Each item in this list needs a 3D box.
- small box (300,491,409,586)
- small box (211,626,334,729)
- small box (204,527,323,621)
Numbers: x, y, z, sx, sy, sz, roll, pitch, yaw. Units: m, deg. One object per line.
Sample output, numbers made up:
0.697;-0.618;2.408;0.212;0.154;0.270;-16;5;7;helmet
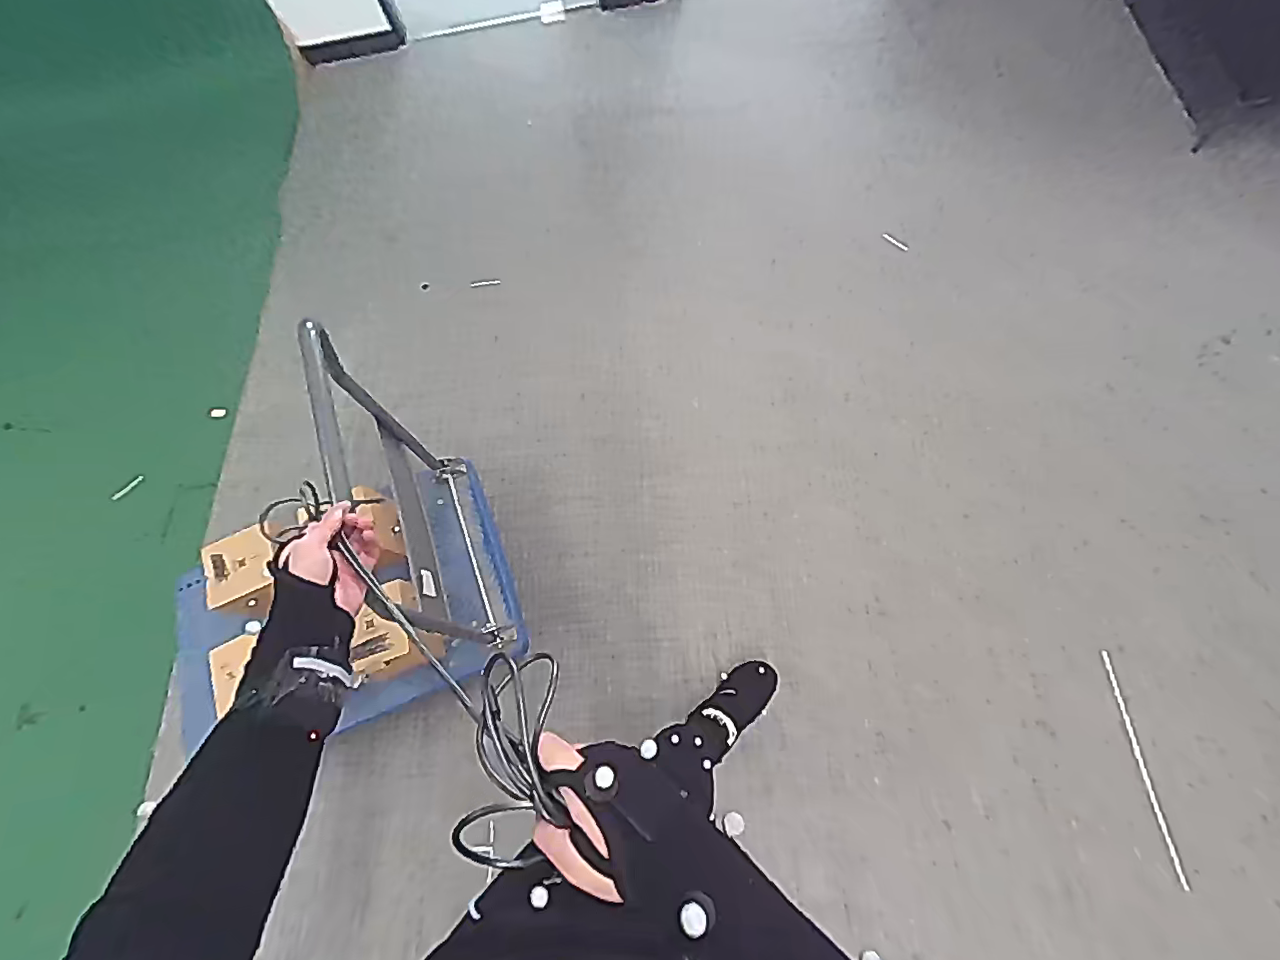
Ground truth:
-0.721;0.156;1.377;0.179;0.176;0.168;-21;68;-1;small box
-0.854;0.463;1.275;0.179;0.176;0.168;-26;67;-3;small box
-0.949;0.245;1.371;0.179;0.176;0.168;-24;69;-3;small box
